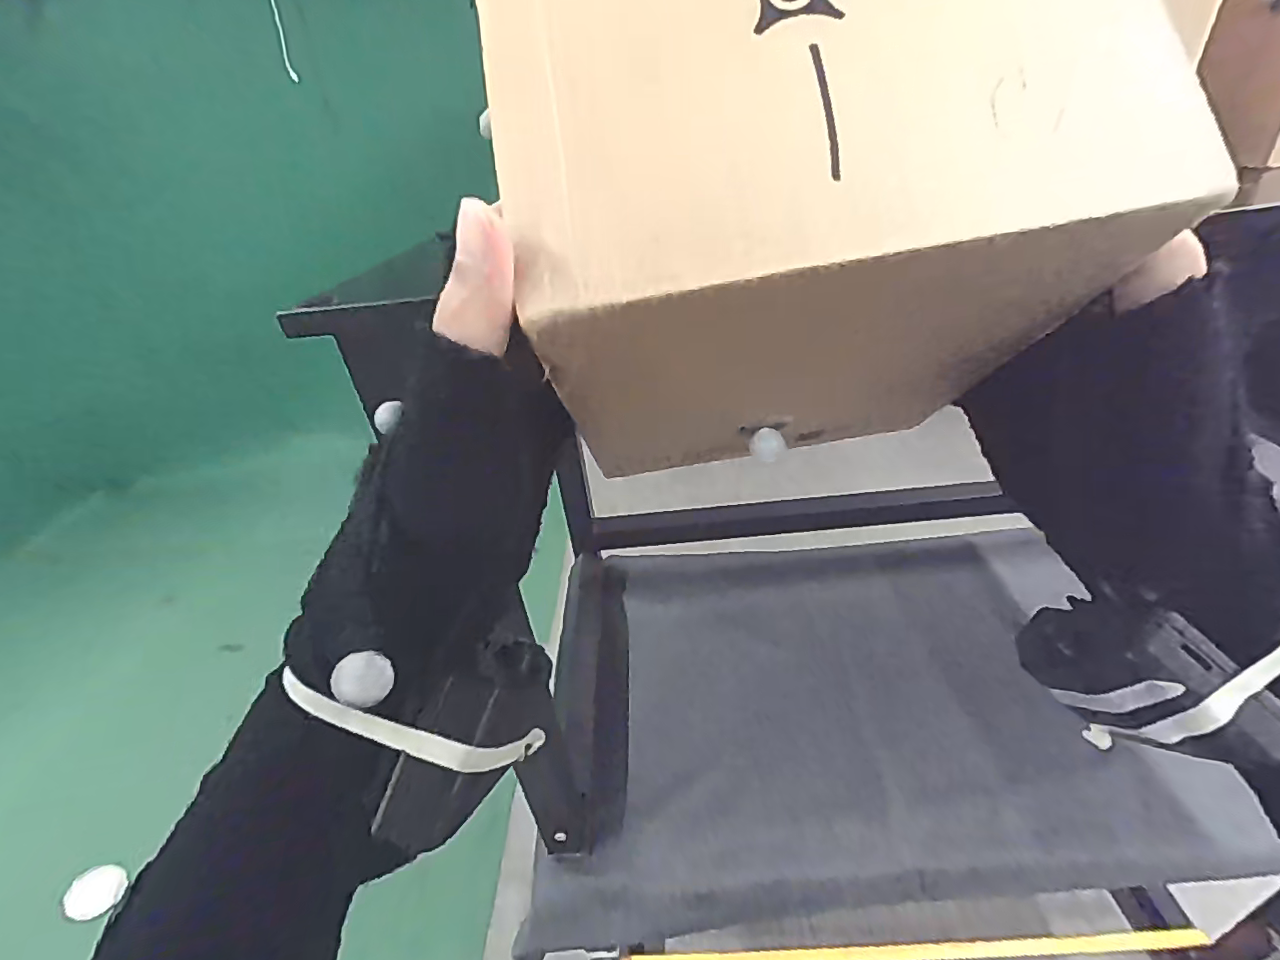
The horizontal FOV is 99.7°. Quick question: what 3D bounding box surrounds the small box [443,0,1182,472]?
[{"bbox_3d":[0.034,-0.115,0.220,0.168,0.179,0.176,-10,-12,3],"label":"small box"}]
